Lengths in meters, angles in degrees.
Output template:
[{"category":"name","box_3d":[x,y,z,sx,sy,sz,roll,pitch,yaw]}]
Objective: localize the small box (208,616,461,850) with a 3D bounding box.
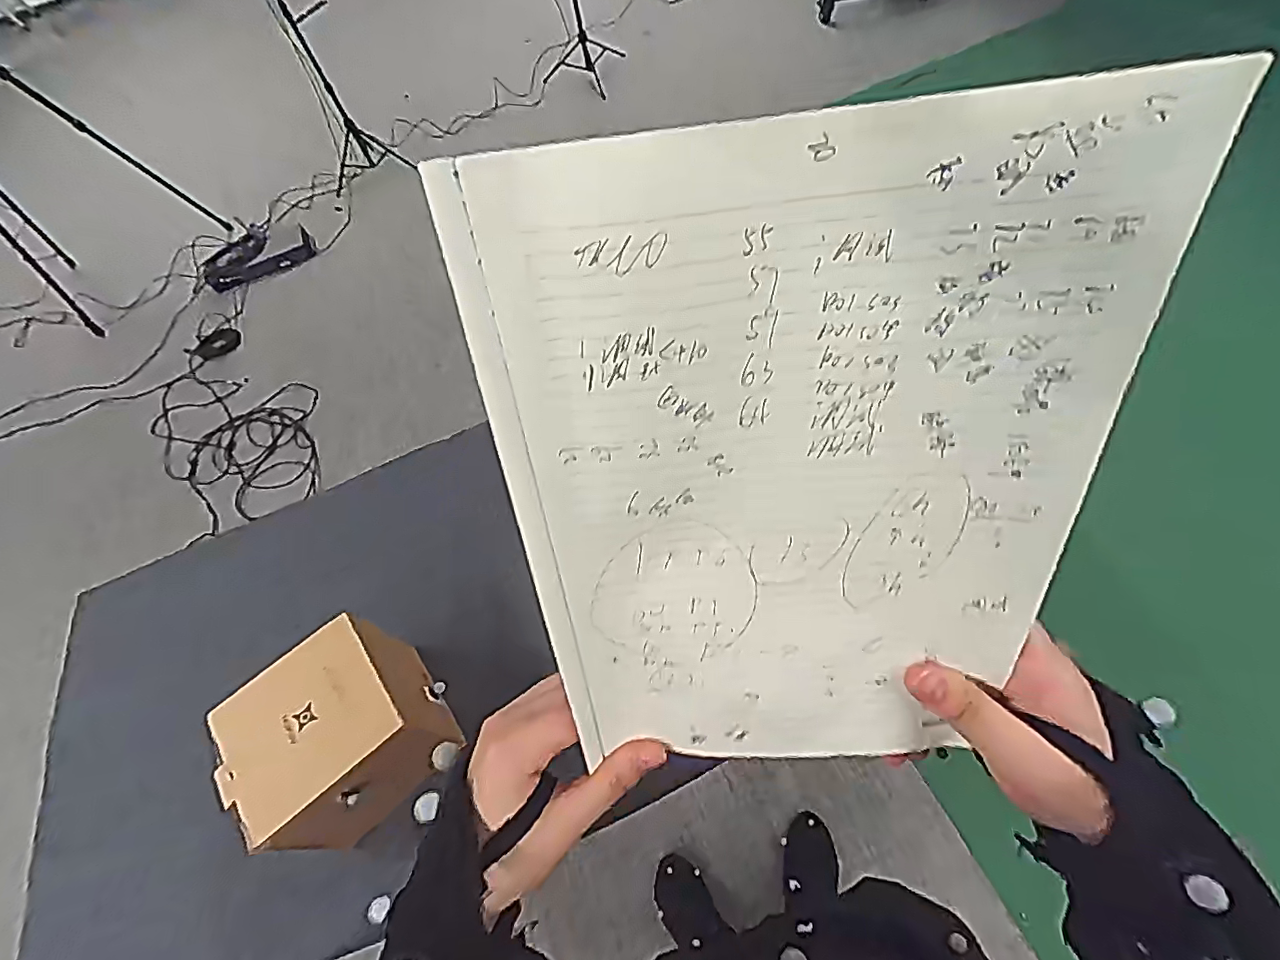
[{"category":"small box","box_3d":[-0.352,0.302,0.649,0.179,0.176,0.168,-39,61,-15]}]

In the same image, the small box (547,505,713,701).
[{"category":"small box","box_3d":[-0.009,0.157,0.669,0.168,0.176,0.179,-13,58,3]}]
